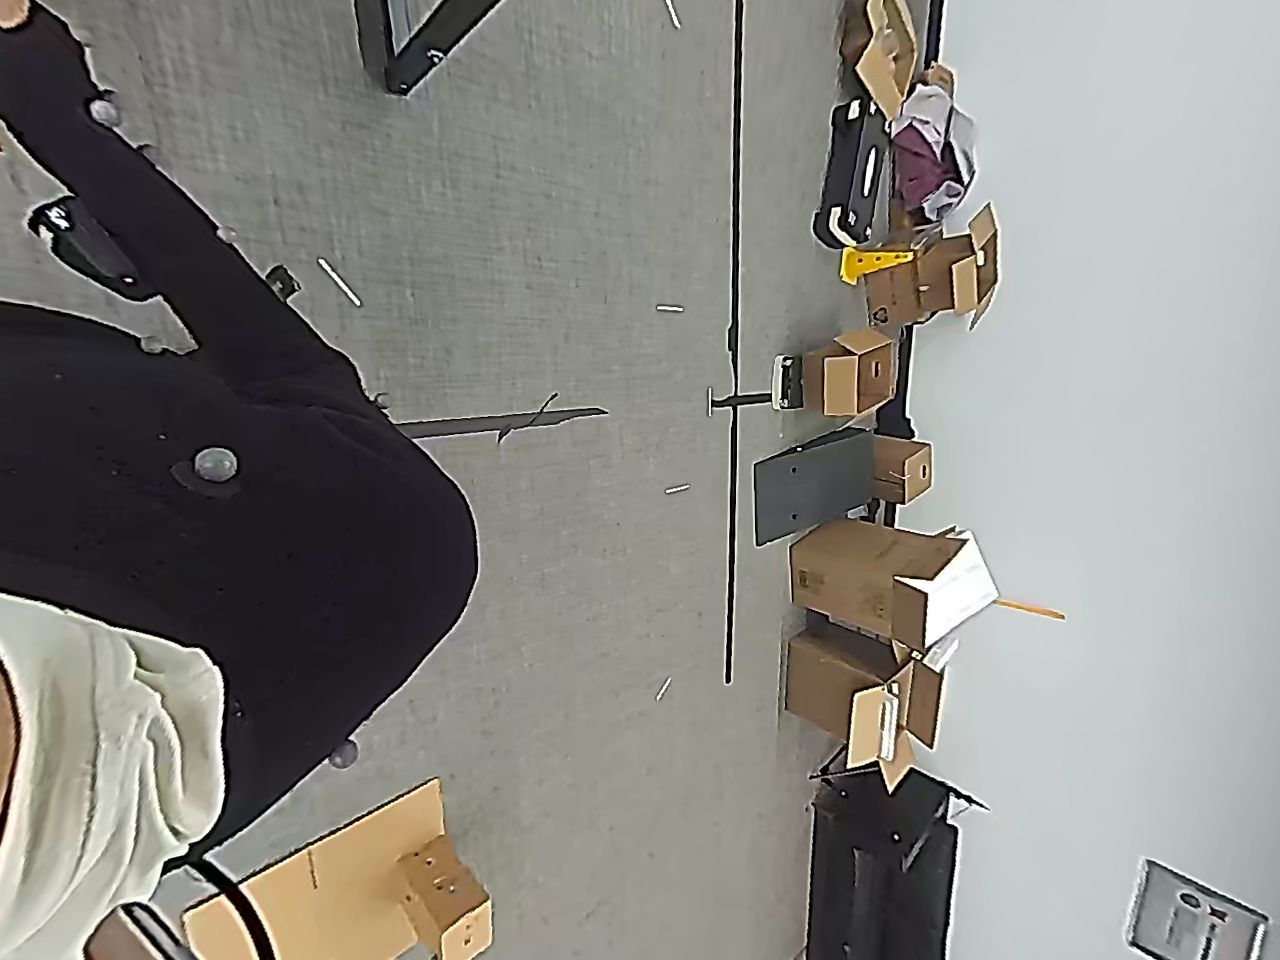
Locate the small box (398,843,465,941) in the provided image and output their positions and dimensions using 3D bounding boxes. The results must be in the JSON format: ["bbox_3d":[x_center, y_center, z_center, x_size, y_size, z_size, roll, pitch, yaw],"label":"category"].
[{"bbox_3d":[-0.704,1.376,1.829,0.168,0.176,0.179,-10,105,-42],"label":"small box"}]

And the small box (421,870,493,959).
[{"bbox_3d":[-0.583,1.407,1.719,0.168,0.176,0.179,-9,105,-43],"label":"small box"}]
